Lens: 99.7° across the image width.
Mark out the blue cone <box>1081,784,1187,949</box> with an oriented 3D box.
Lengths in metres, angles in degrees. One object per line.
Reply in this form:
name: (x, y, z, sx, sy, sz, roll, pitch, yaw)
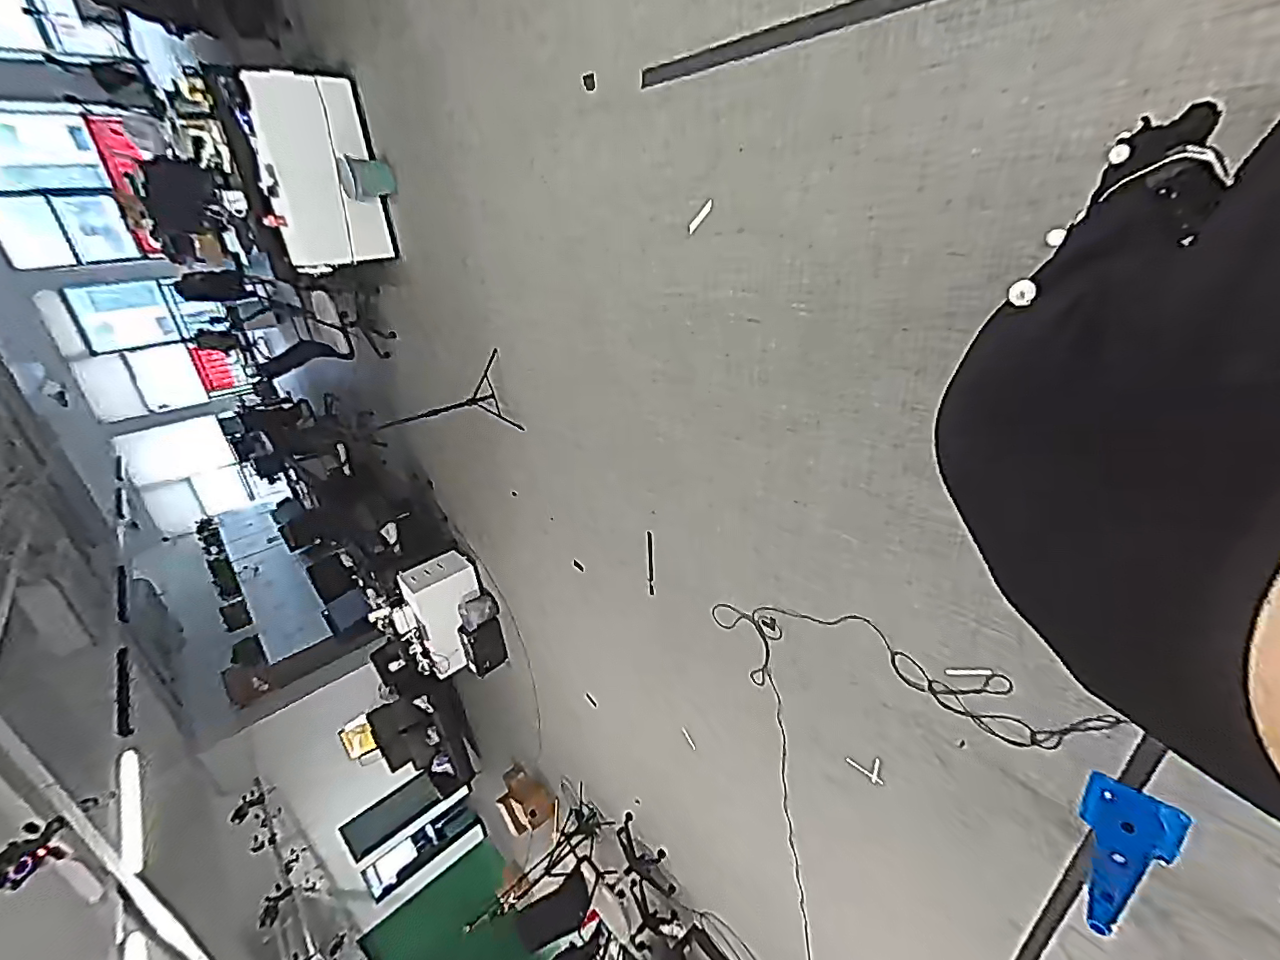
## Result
blue cone: (1.175, 0.967, 1.329, 0.192, 0.380, 0.193, 19, 125, 44)
